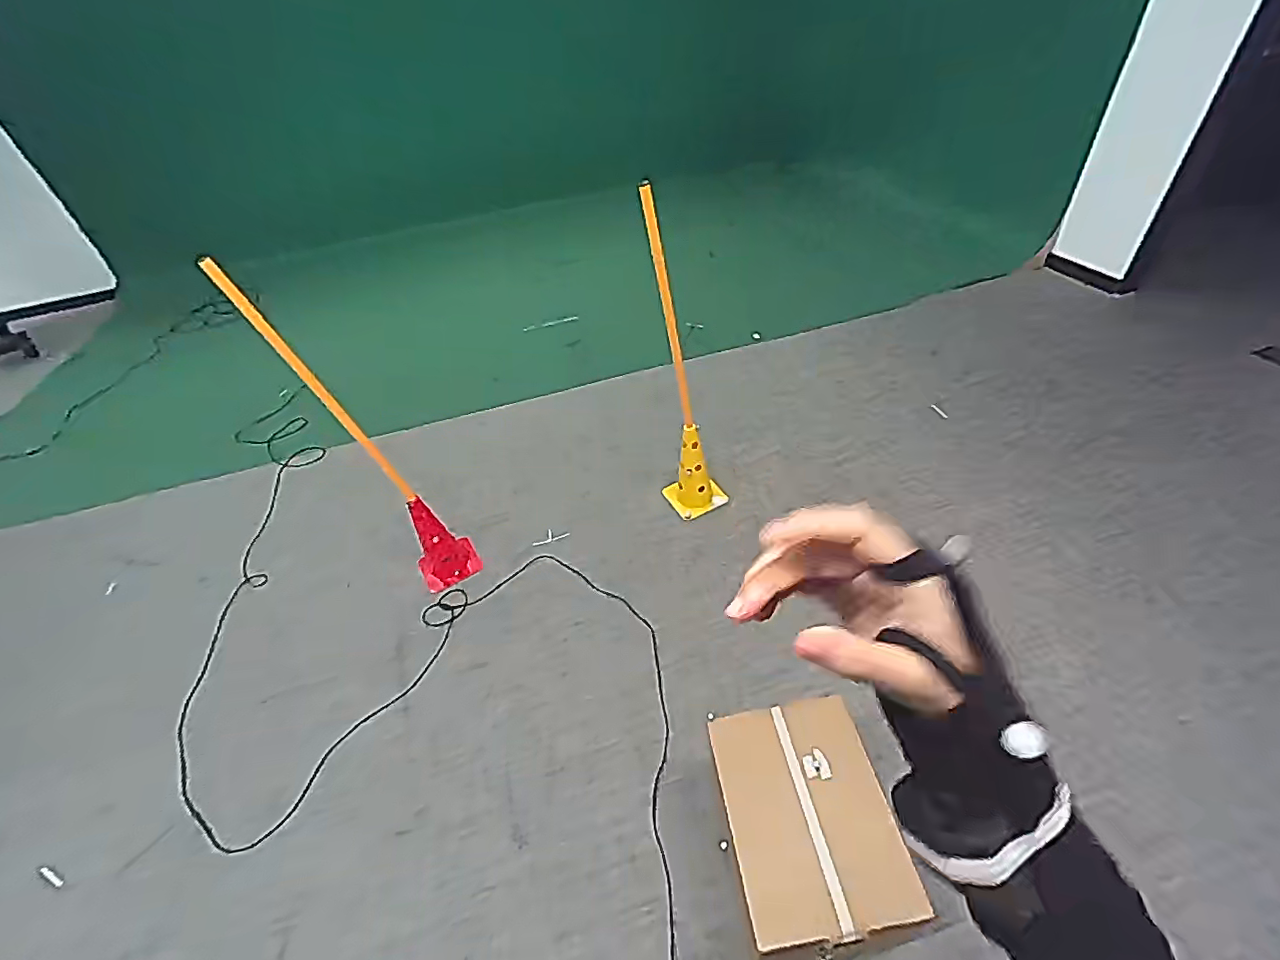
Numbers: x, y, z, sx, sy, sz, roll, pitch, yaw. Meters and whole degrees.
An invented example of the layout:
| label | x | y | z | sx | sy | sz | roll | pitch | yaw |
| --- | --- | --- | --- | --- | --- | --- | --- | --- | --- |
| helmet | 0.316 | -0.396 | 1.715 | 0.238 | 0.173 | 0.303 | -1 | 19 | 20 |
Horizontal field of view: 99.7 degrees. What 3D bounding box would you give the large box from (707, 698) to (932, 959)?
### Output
| label | x | y | z | sx | sy | sz | roll | pitch | yaw |
| --- | --- | --- | --- | --- | --- | --- | --- | --- | --- |
| large box | 0.348 | 0.758 | 1.169 | 0.320 | 0.320 | 0.408 | -10 | 41 | -1 |
